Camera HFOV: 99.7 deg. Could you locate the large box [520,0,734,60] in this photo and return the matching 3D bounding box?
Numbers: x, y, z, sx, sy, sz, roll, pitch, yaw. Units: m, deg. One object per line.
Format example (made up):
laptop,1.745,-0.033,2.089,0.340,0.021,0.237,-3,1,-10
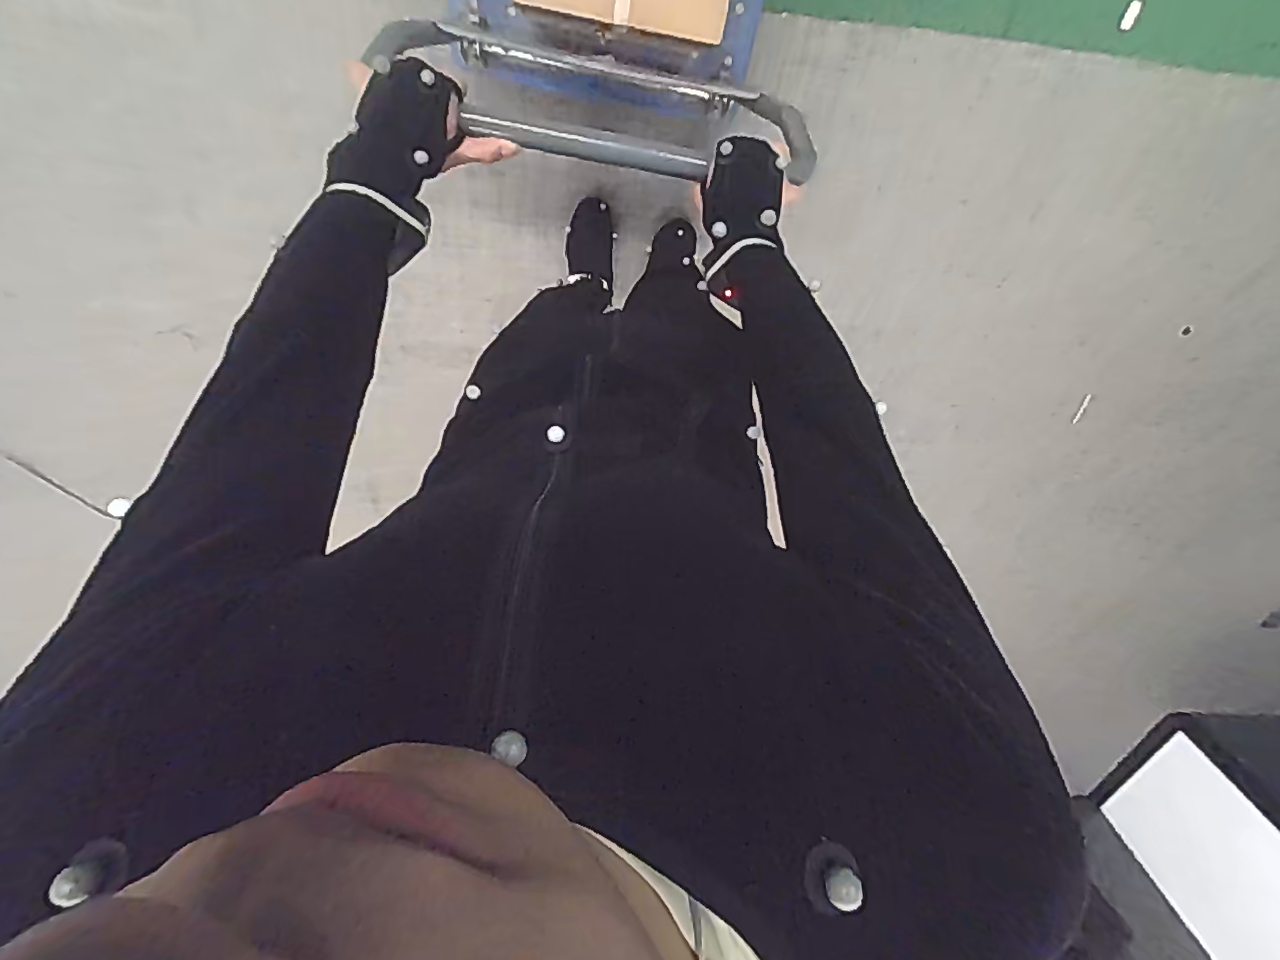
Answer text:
large box,-0.002,-0.911,0.810,0.320,0.320,0.408,6,125,-9
